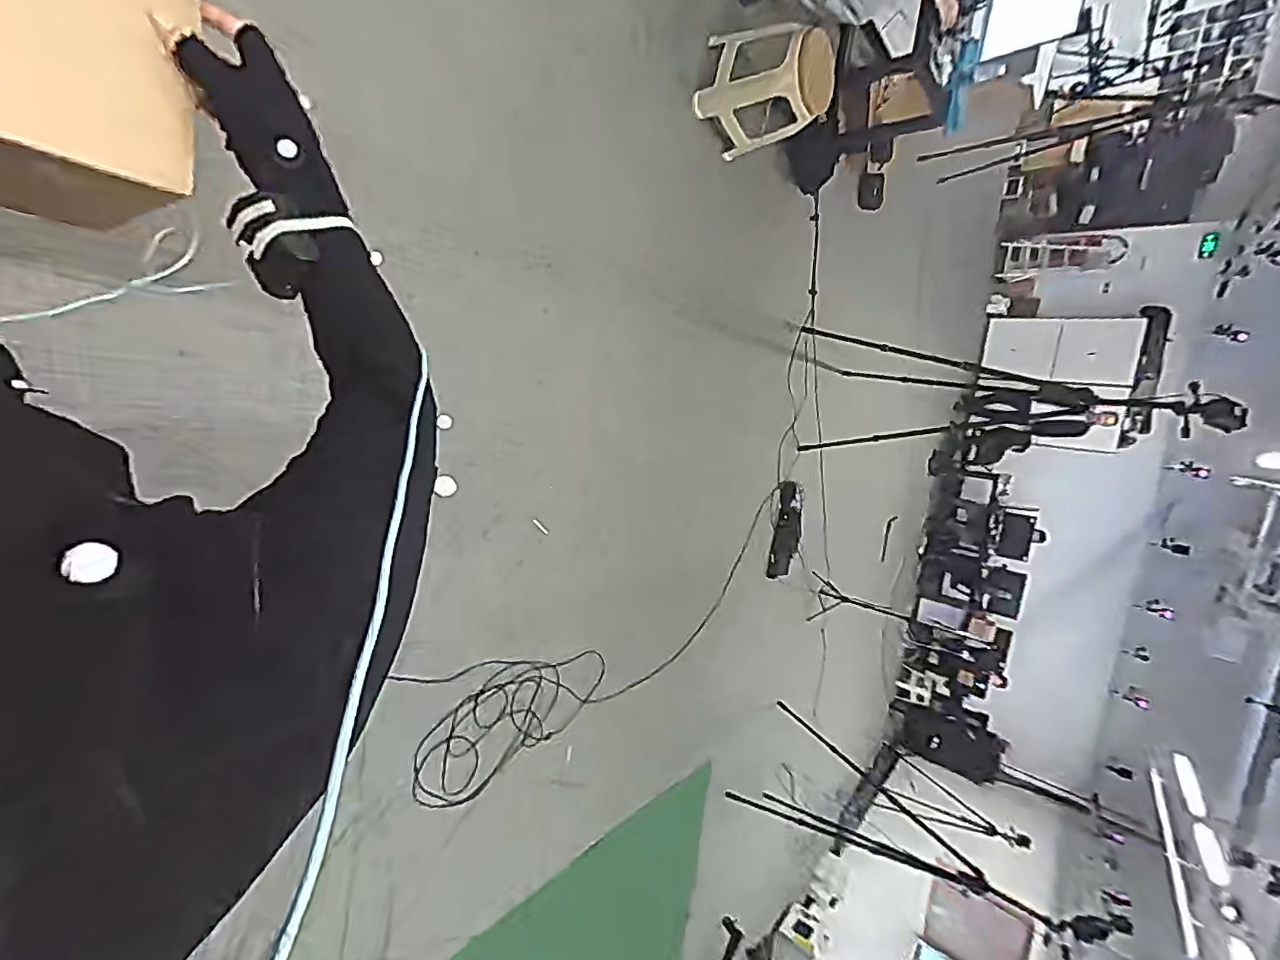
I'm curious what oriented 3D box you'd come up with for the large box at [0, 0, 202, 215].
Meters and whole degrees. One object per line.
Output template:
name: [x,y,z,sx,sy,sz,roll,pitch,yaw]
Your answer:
large box: [-0.584,-0.417,0.353,0.408,0.320,0.320,-2,102,-54]
